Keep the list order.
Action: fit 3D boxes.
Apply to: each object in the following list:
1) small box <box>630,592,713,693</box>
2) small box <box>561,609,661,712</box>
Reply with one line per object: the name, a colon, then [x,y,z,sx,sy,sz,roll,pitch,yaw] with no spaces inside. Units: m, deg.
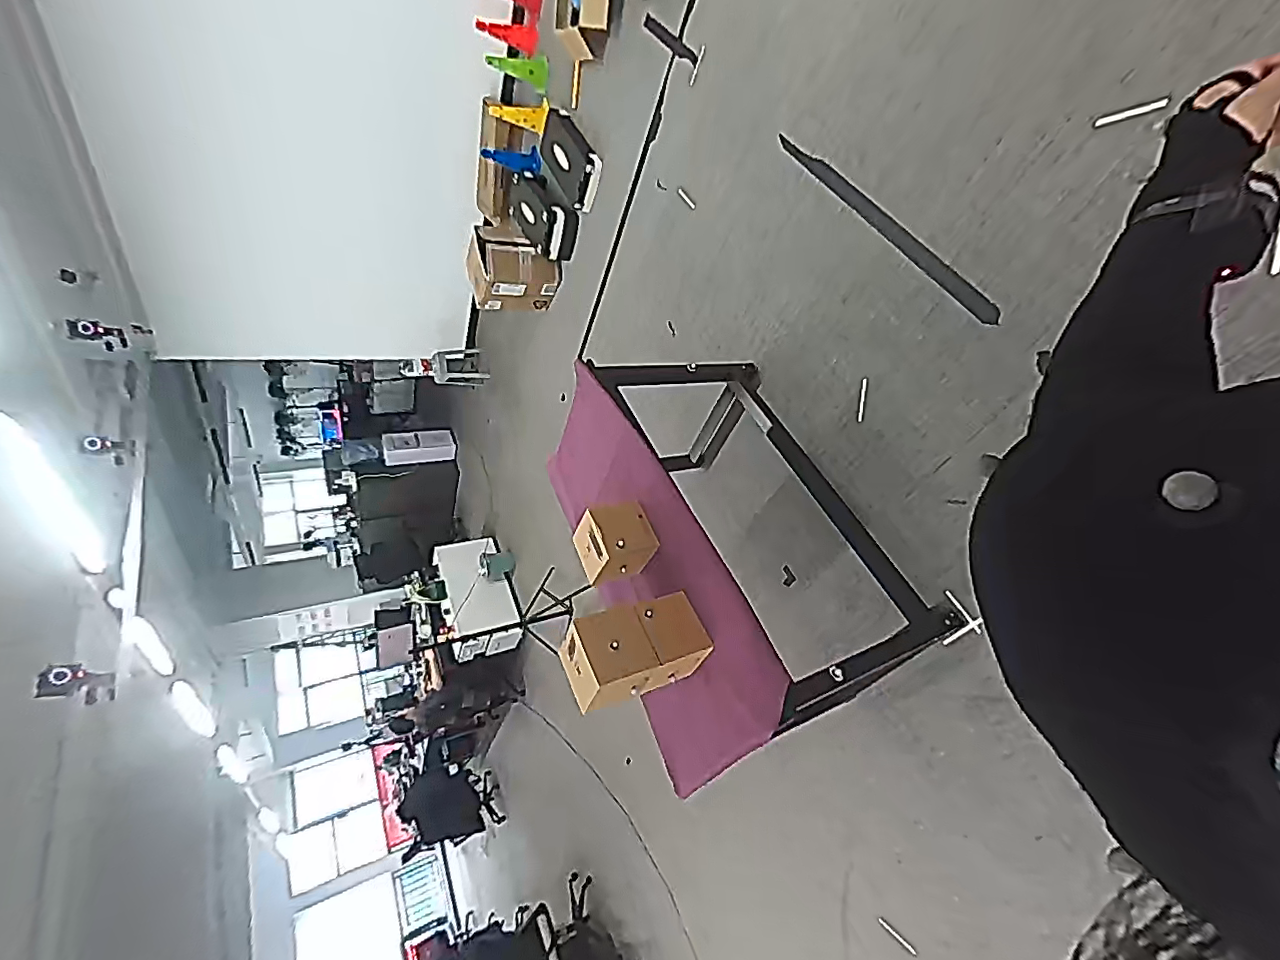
small box: [0.065,0.422,1.421,0.179,0.176,0.168,60,143,33]
small box: [-0.074,0.437,1.335,0.179,0.176,0.168,59,143,33]
